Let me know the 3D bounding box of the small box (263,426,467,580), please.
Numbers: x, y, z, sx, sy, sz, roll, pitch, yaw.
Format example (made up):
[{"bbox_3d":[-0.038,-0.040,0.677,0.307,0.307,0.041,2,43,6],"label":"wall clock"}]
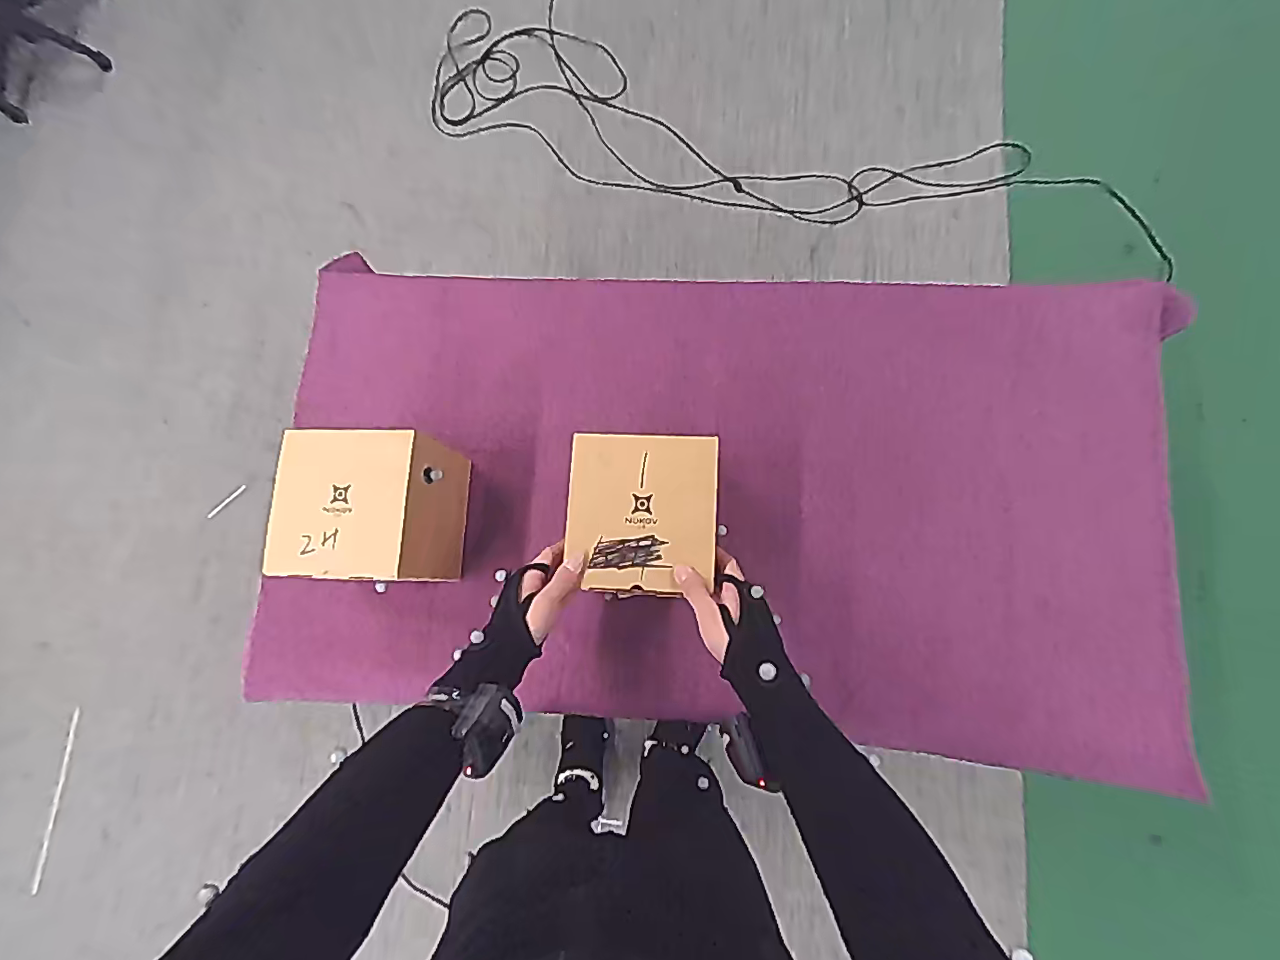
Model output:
[{"bbox_3d":[-0.340,0.038,0.704,0.168,0.176,0.179,1,79,6],"label":"small box"}]

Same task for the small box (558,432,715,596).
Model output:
[{"bbox_3d":[0.006,0.048,0.668,0.168,0.176,0.179,2,79,6],"label":"small box"}]
